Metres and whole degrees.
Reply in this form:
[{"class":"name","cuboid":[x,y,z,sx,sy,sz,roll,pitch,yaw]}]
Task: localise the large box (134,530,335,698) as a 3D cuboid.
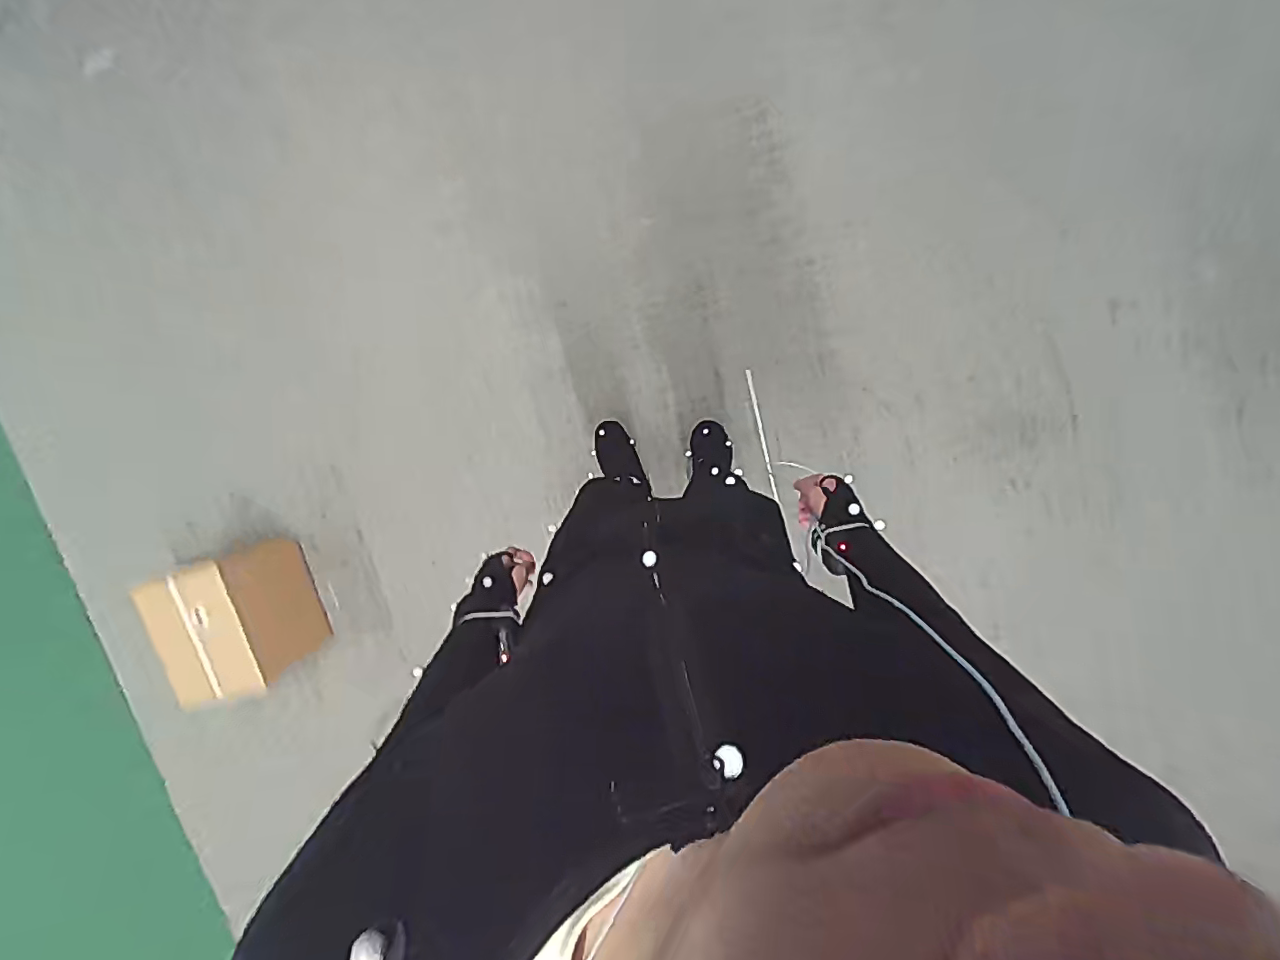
[{"class":"large box","cuboid":[-1.273,0.417,1.737,0.320,0.320,0.408,-14,98,9]}]
